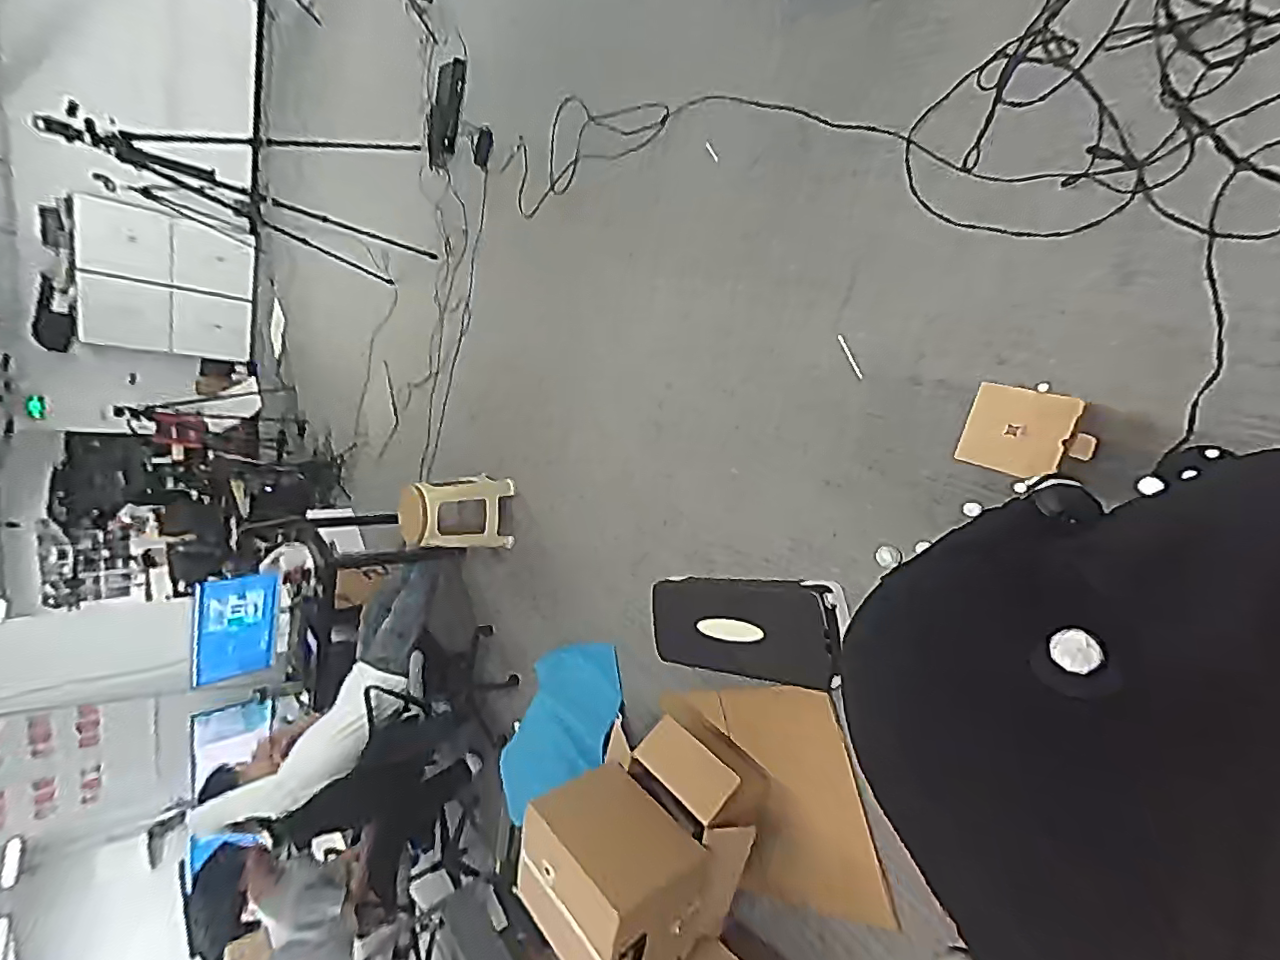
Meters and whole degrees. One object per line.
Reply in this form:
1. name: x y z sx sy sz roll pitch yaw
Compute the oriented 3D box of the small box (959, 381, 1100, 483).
1. small box: 0.797 -0.096 1.106 0.179 0.176 0.168 25 109 43
